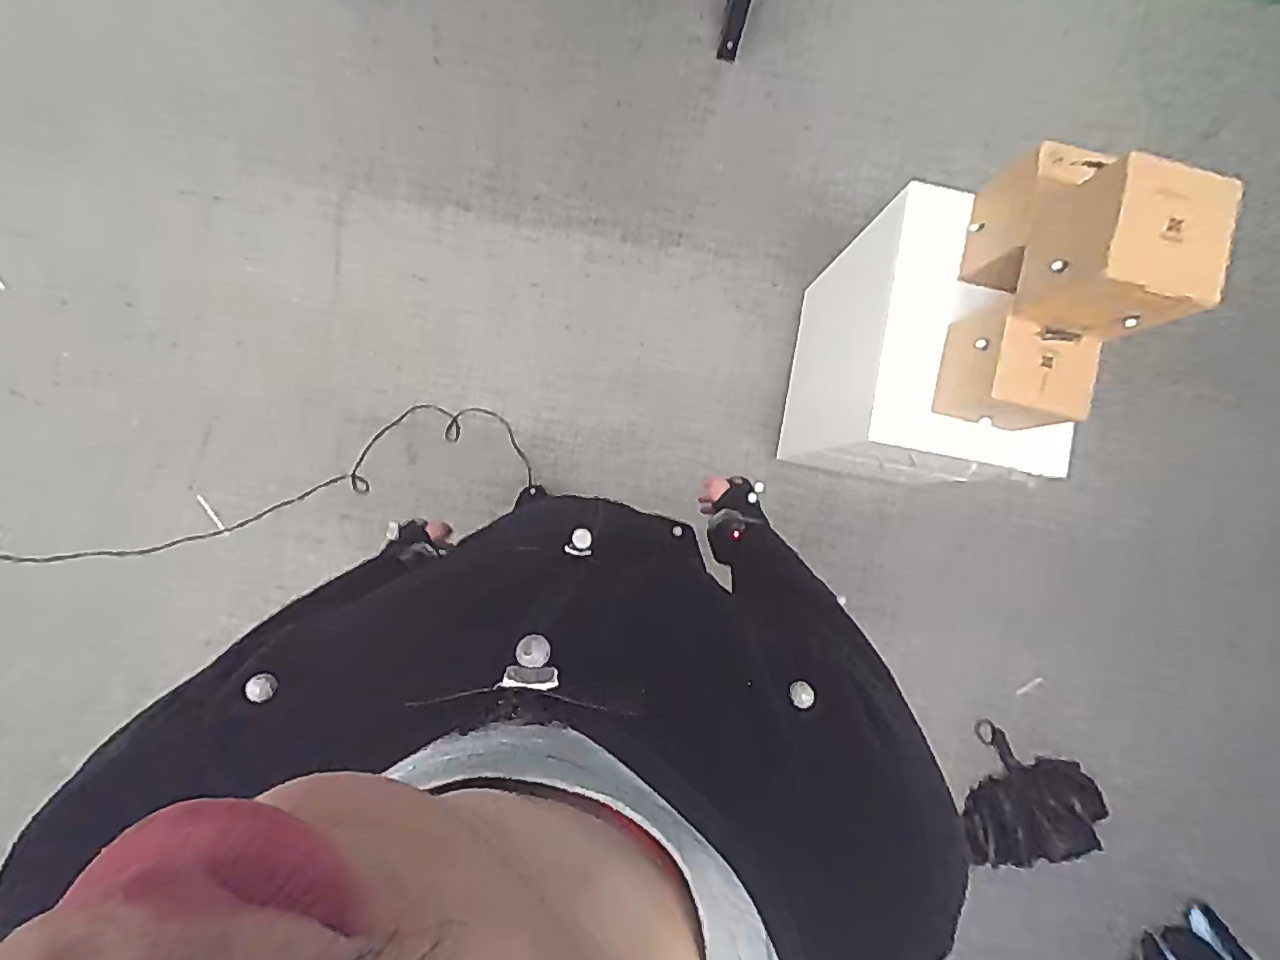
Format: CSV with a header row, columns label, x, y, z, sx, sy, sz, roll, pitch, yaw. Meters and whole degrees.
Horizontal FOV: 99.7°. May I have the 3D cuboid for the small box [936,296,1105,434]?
label,x,y,z,sx,sy,sz,roll,pitch,yaw
small box,0.651,-0.189,0.942,0.168,0.176,0.179,13,88,-2

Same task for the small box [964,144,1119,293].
label,x,y,z,sx,sy,sz,roll,pitch,yaw
small box,0.709,-0.443,0.953,0.168,0.176,0.179,11,90,-3

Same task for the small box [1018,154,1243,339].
label,x,y,z,sx,sy,sz,roll,pitch,yaw
small box,0.695,-0.323,0.787,0.168,0.176,0.179,13,87,-4
